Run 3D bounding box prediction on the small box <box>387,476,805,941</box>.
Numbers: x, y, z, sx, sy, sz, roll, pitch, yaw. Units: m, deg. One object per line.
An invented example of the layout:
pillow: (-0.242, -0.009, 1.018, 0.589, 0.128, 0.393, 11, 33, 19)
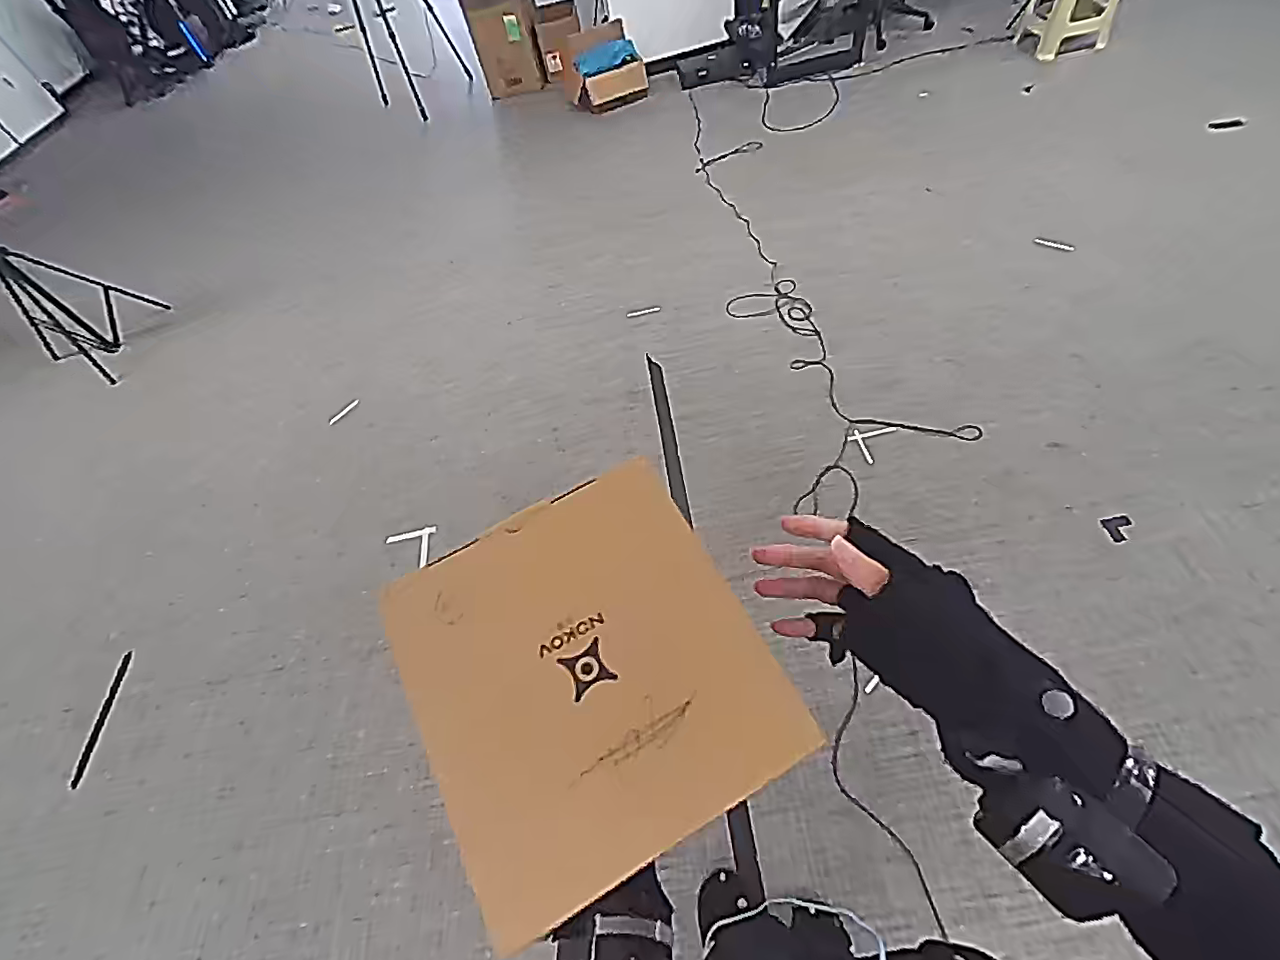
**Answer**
small box: (-0.027, 0.134, 0.352, 0.168, 0.176, 0.179, -28, 66, -10)
